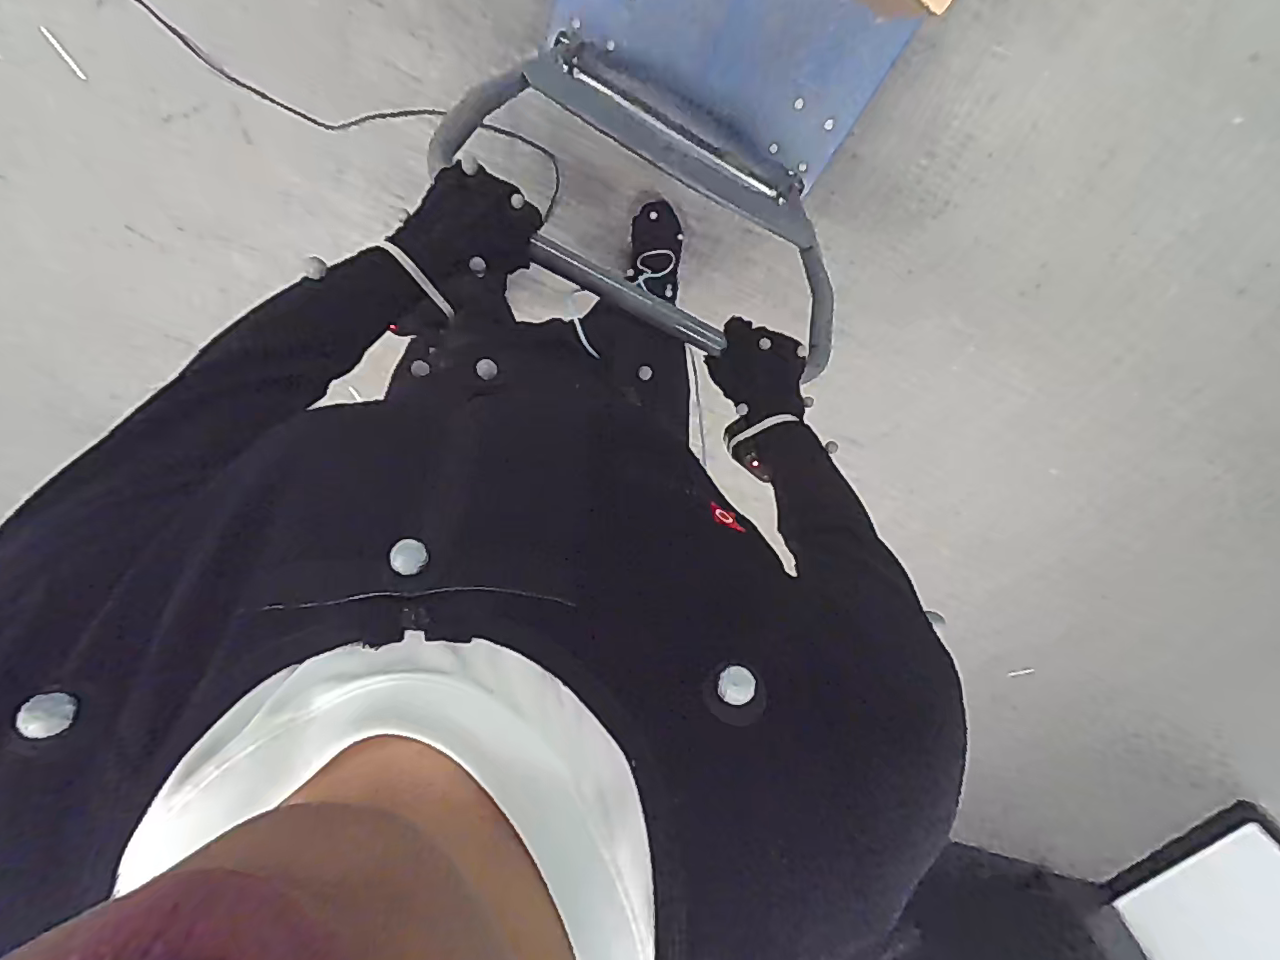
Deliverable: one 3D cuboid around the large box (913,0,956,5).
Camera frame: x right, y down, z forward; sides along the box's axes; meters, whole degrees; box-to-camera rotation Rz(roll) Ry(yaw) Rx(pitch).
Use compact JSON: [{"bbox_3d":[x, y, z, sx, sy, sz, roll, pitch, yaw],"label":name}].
[{"bbox_3d":[0.313,-0.871,0.649,0.408,0.320,0.320,27,129,-14],"label":"large box"}]
